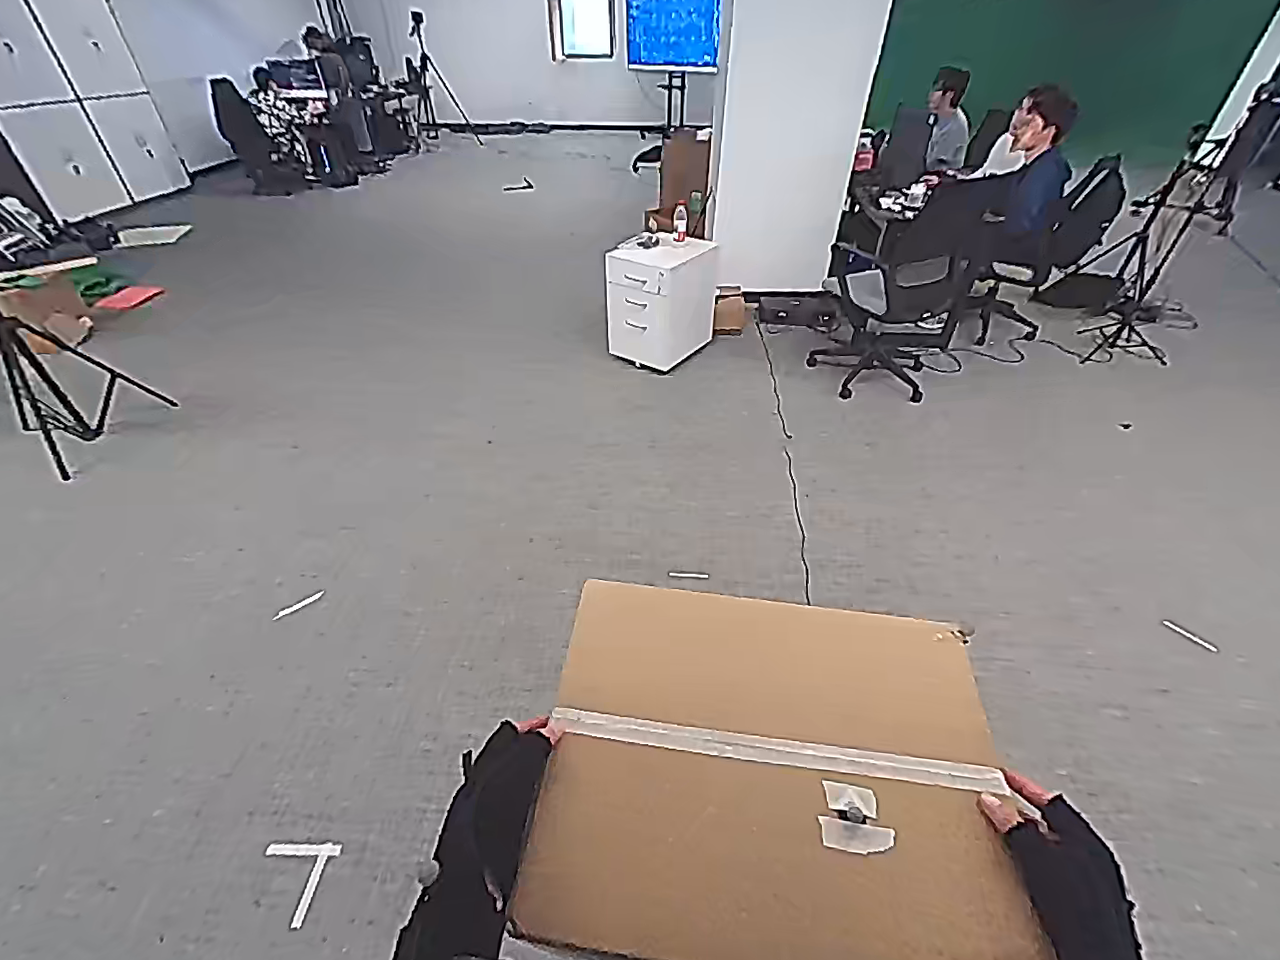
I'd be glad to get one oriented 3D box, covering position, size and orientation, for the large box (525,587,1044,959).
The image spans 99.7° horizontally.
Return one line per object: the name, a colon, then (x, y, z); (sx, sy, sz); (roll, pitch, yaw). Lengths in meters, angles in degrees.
large box: (0.121, 0.353, 0.616); (0.408, 0.320, 0.320); (6, 47, 6)
